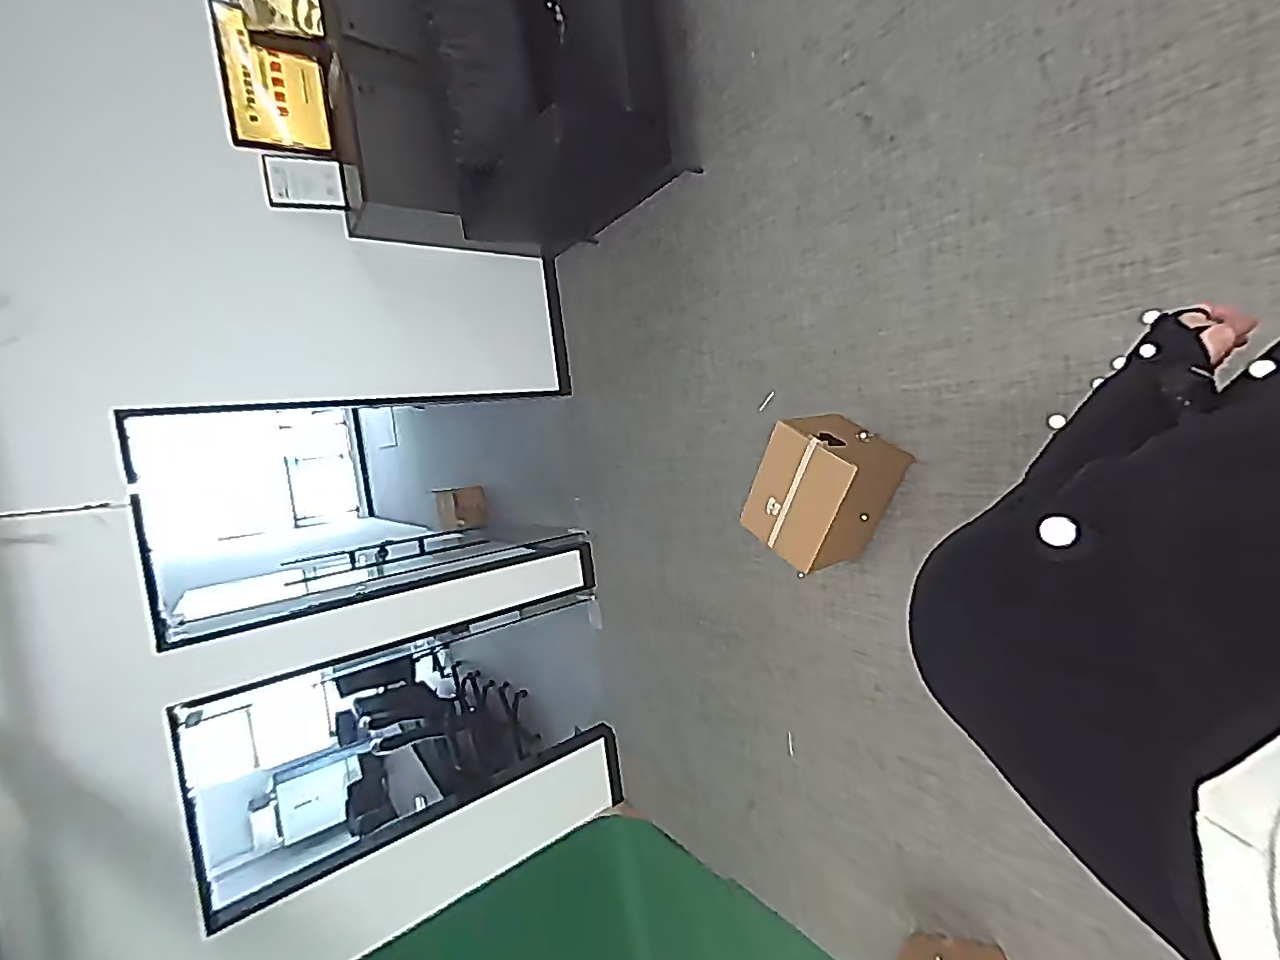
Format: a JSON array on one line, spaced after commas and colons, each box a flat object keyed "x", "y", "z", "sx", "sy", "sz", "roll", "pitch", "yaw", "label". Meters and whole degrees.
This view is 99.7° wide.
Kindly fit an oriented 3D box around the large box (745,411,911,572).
[{"x": 0.609, "y": 0.022, "z": 1.782, "sx": 0.320, "sy": 0.320, "sz": 0.408, "roll": 43, "pitch": 131, "yaw": 41, "label": "large box"}]
